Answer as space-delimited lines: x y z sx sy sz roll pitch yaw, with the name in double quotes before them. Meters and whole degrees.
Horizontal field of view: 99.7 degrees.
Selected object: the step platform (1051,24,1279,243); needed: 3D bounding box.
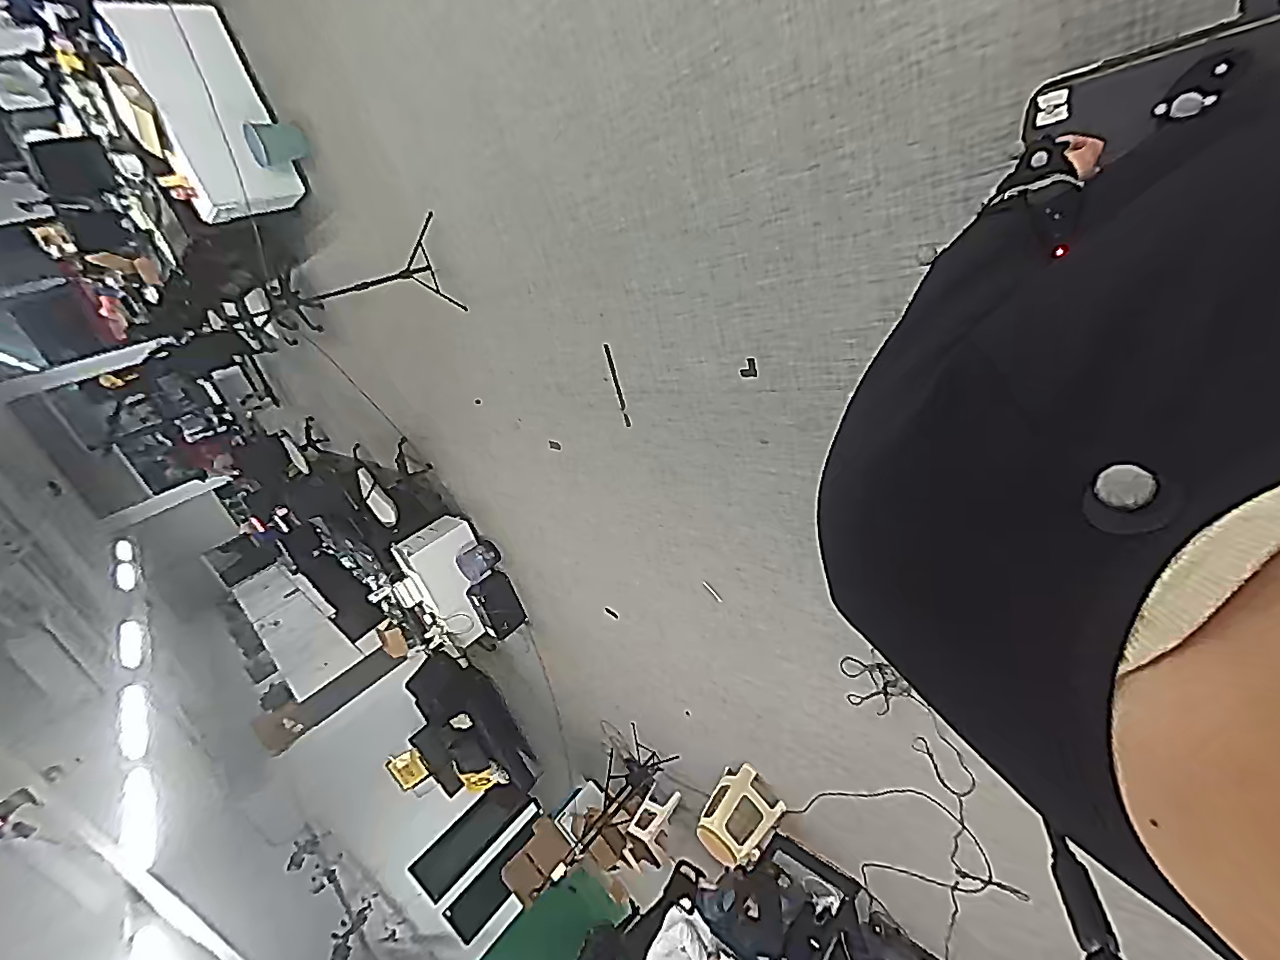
"step platform" 1.061 -0.560 0.833 0.684 0.204 0.286 14 127 42
